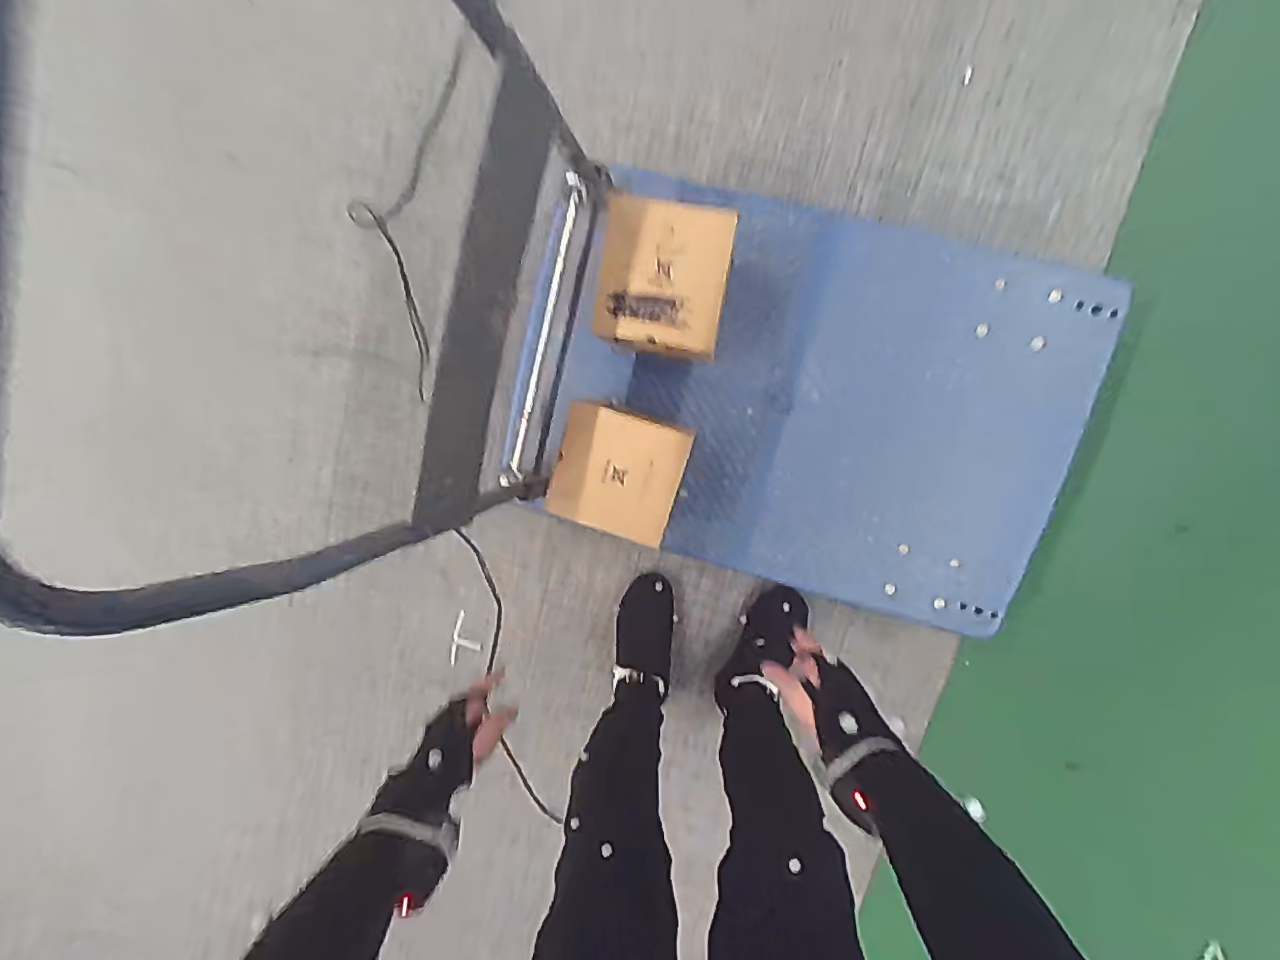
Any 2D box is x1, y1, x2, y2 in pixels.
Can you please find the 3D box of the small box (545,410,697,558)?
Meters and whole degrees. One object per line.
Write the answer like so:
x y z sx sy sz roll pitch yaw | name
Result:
-0.020 -0.001 0.829 0.179 0.176 0.168 18 99 4 | small box
